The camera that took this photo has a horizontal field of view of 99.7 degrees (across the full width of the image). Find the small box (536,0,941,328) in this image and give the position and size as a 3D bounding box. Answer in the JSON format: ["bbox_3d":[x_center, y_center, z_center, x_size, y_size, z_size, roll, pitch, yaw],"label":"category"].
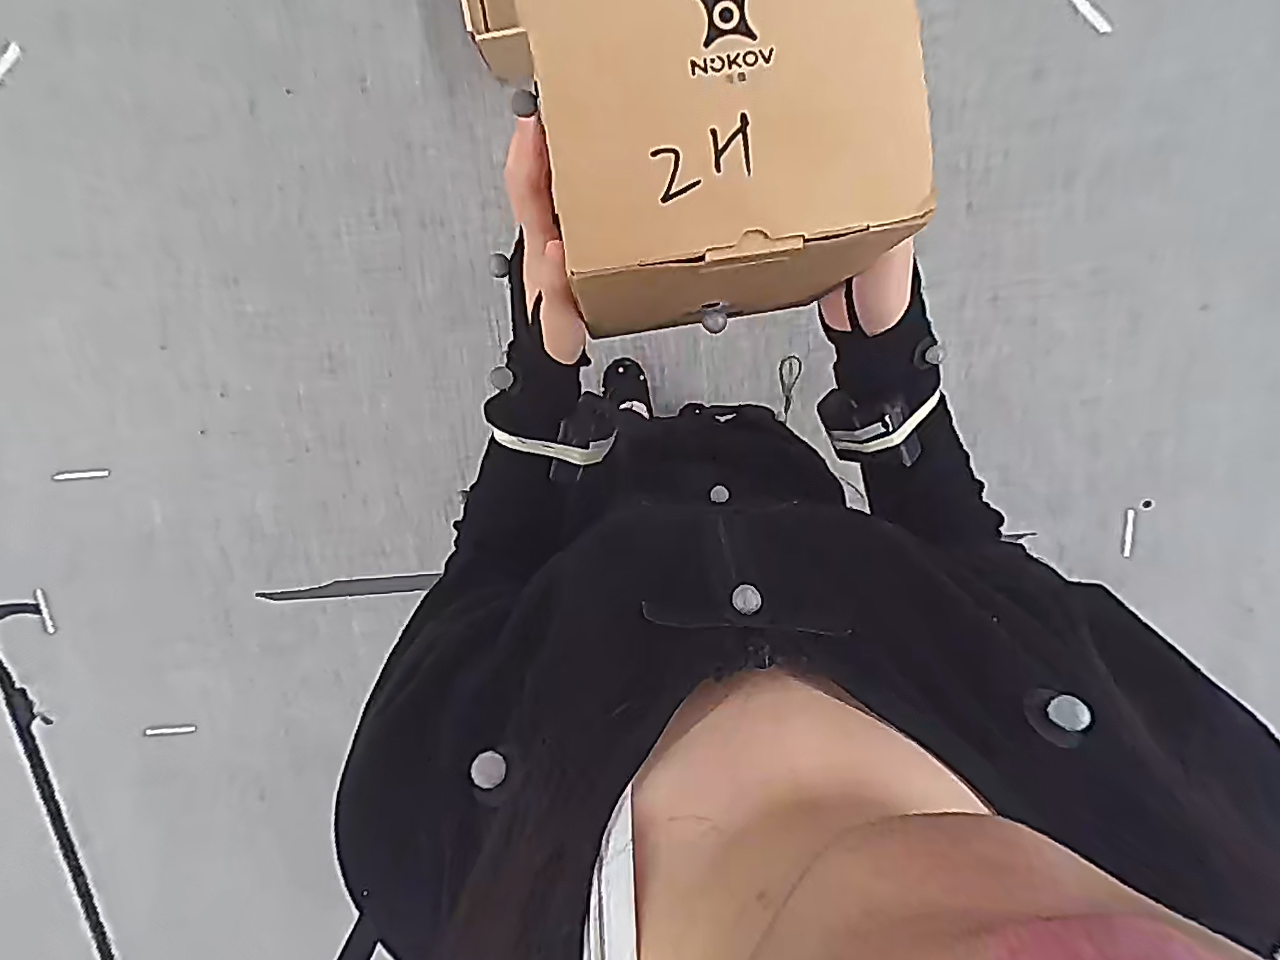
[{"bbox_3d":[0.036,-0.199,0.306,0.168,0.176,0.179,-9,96,-1],"label":"small box"}]
